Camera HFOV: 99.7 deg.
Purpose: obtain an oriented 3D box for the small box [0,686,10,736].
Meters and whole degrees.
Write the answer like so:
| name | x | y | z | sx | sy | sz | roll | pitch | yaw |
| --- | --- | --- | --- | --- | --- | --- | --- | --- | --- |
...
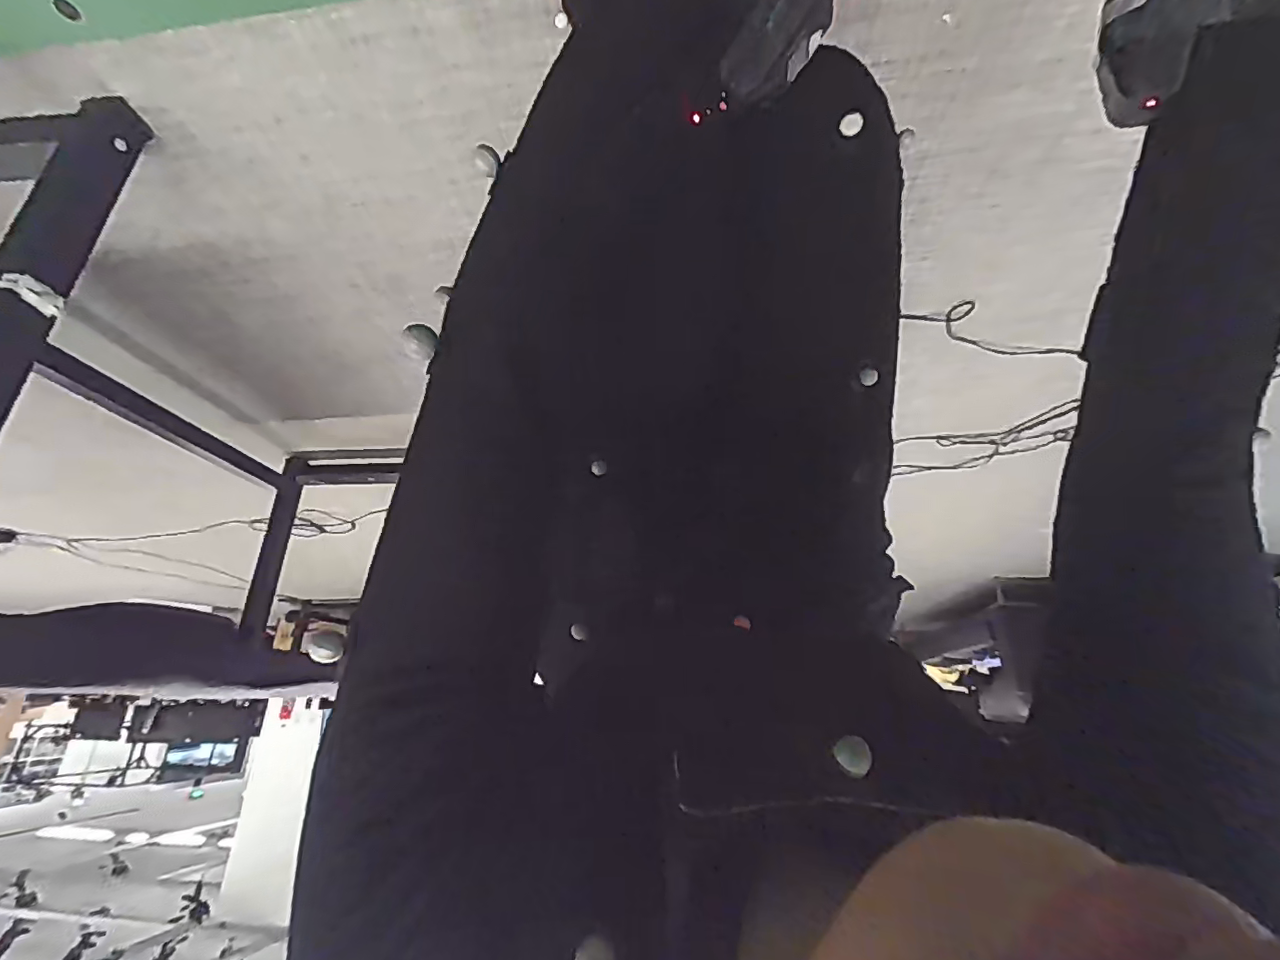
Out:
| name | x | y | z | sx | sy | sz | roll | pitch | yaw |
| --- | --- | --- | --- | --- | --- | --- | --- | --- | --- |
| small box | -0.937 | 0.331 | 0.648 | 0.179 | 0.176 | 0.168 | -2 | 157 | 9 |
